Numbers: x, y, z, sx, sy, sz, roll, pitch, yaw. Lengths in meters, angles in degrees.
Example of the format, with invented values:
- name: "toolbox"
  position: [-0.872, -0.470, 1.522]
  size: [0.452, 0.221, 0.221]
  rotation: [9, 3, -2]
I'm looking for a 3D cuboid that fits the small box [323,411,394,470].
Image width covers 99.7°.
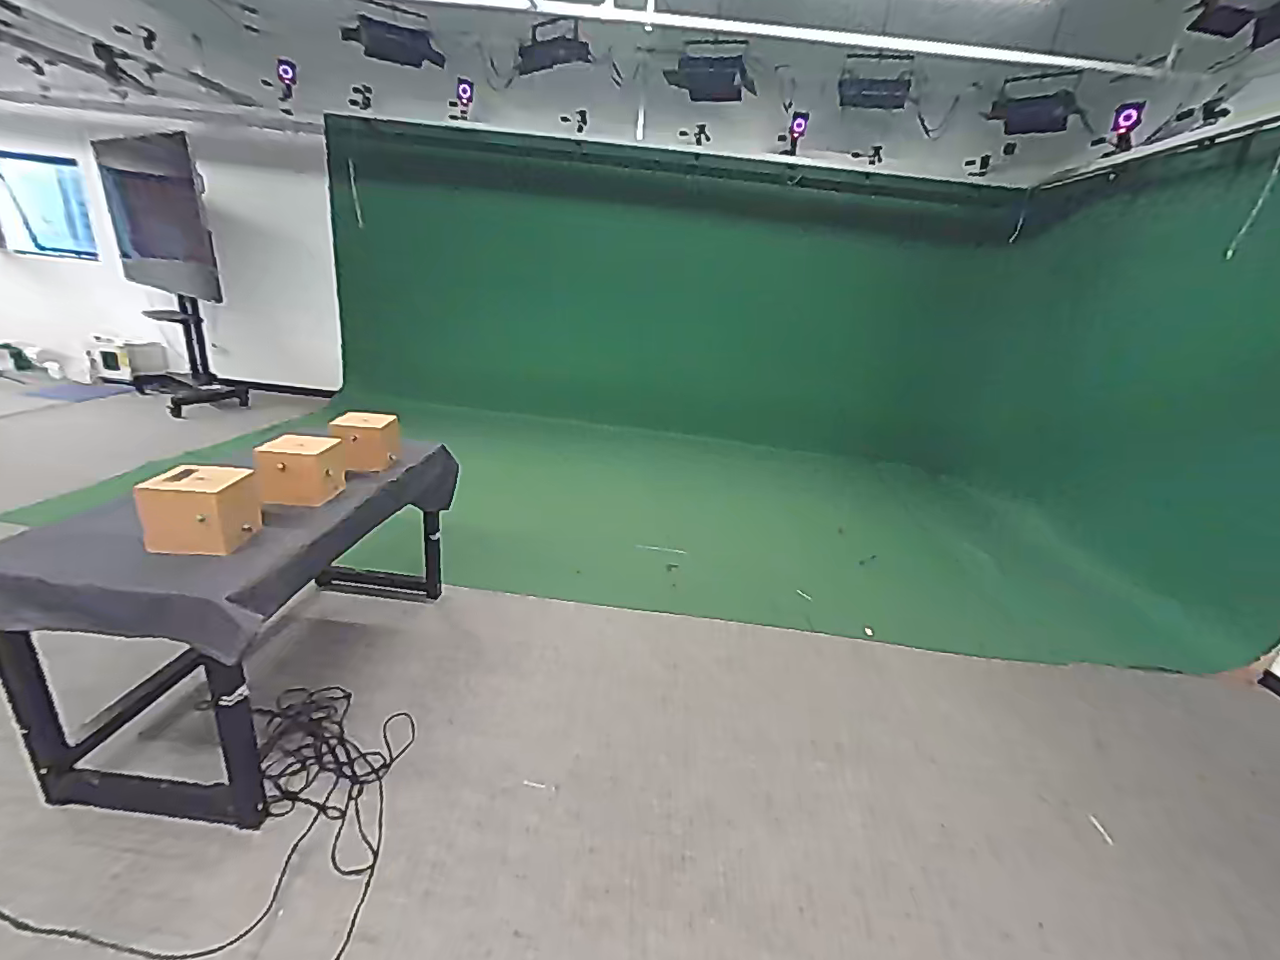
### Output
- name: "small box"
  position: [-1.003, -0.140, 1.936]
  size: [0.179, 0.176, 0.168]
  rotation: [5, 21, -6]

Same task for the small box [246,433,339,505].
- name: "small box"
  position: [-1.036, -0.032, 1.631]
  size: [0.179, 0.176, 0.168]
  rotation: [4, 20, -4]
